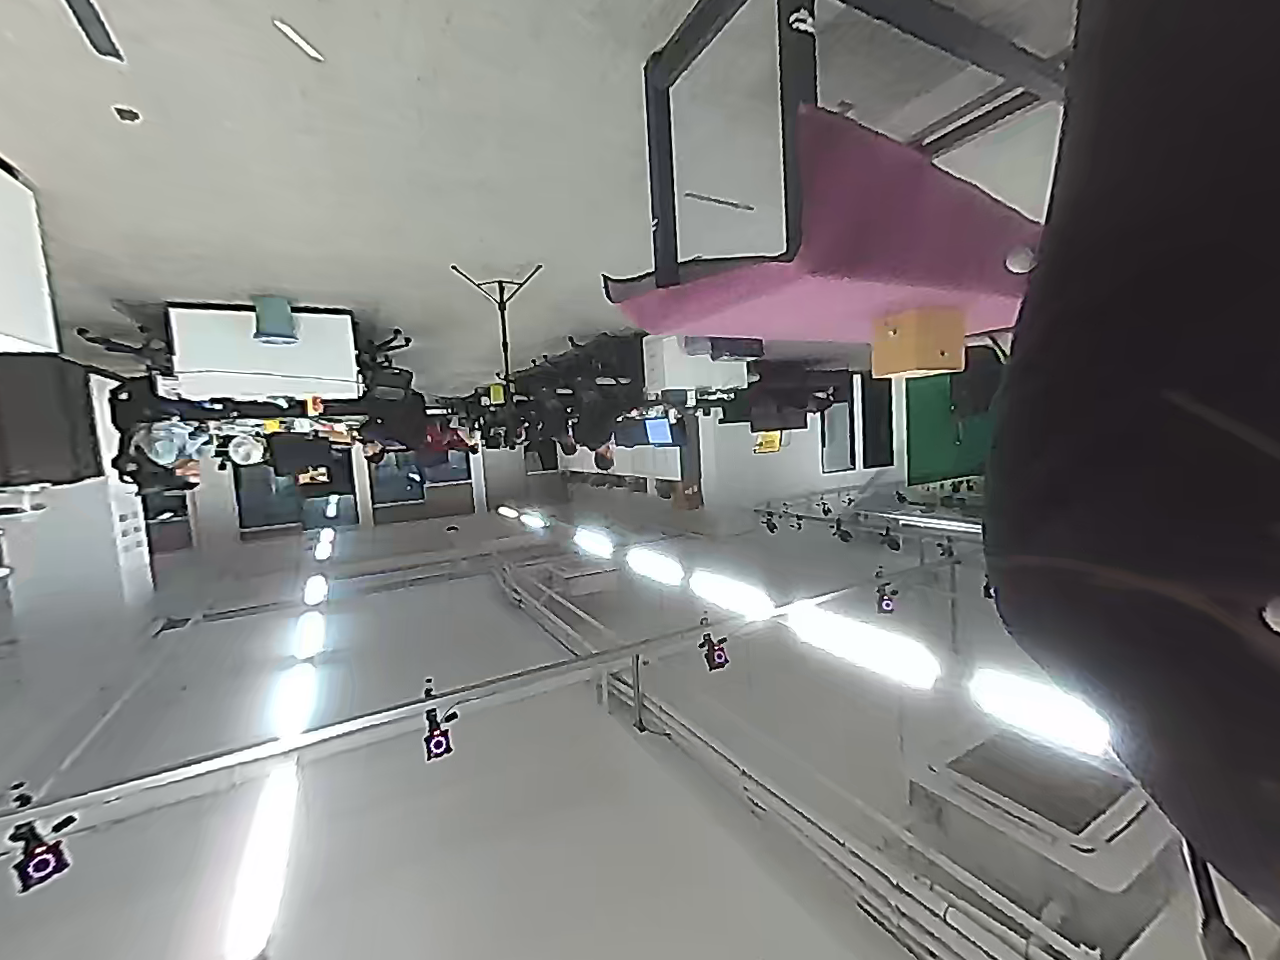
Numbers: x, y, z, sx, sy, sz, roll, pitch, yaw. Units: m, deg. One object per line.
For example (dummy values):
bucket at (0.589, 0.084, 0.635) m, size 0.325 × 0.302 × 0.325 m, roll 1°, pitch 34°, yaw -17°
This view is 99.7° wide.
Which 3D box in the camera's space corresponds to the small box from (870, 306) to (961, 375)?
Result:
small box at (0.782, -0.394, 1.535) m, size 0.179 × 0.176 × 0.168 m, roll -5°, pitch -175°, yaw -18°
